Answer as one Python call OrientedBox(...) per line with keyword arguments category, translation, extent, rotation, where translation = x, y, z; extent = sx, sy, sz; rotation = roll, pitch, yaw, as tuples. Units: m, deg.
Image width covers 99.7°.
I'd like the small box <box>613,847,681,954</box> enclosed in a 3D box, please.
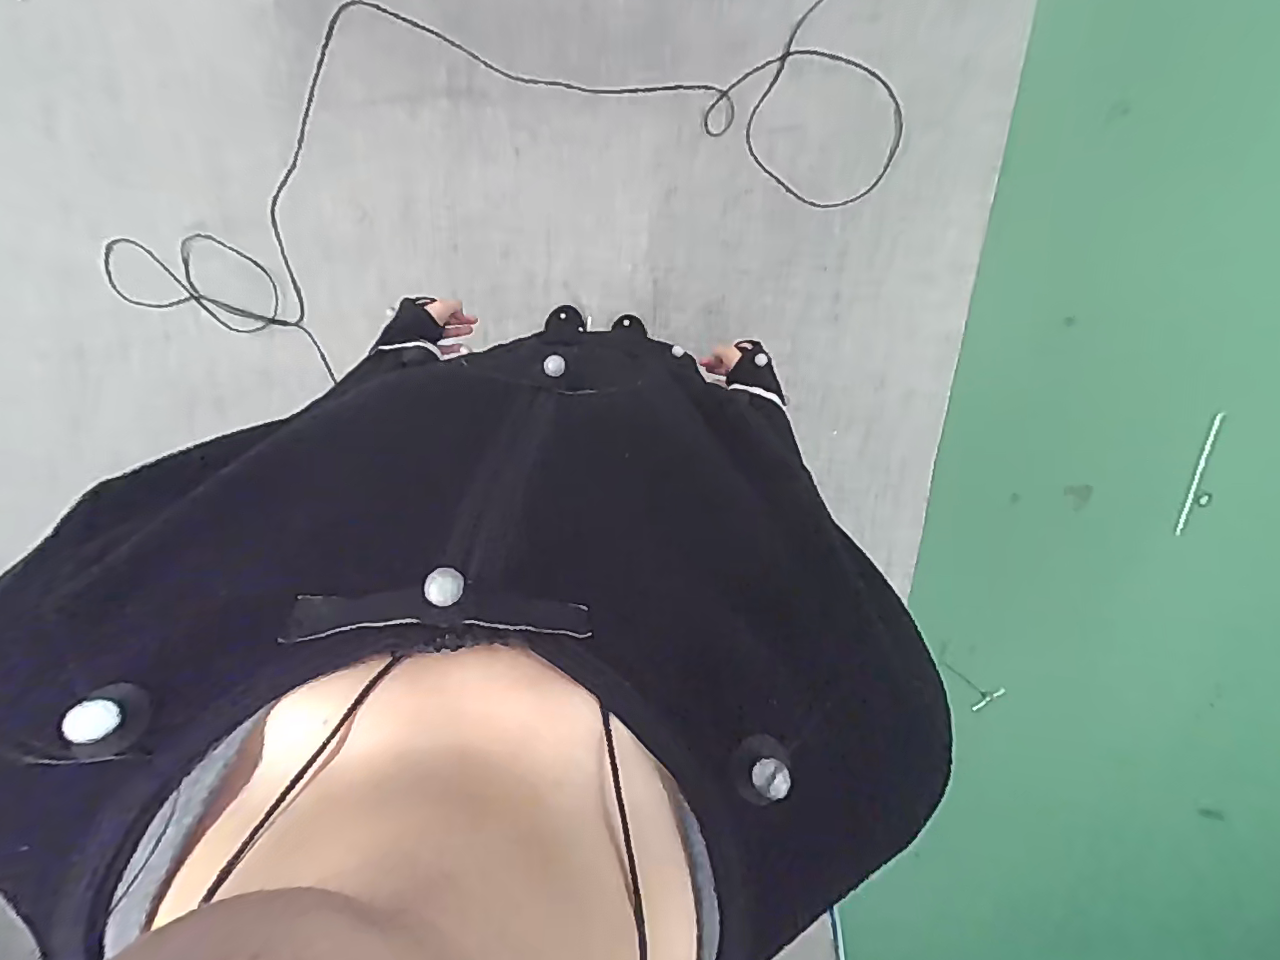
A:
OrientedBox(category="small box", translation=(0.017, 1.203, 1.552), extent=(0.168, 0.176, 0.179), rotation=(7, 105, -4))
